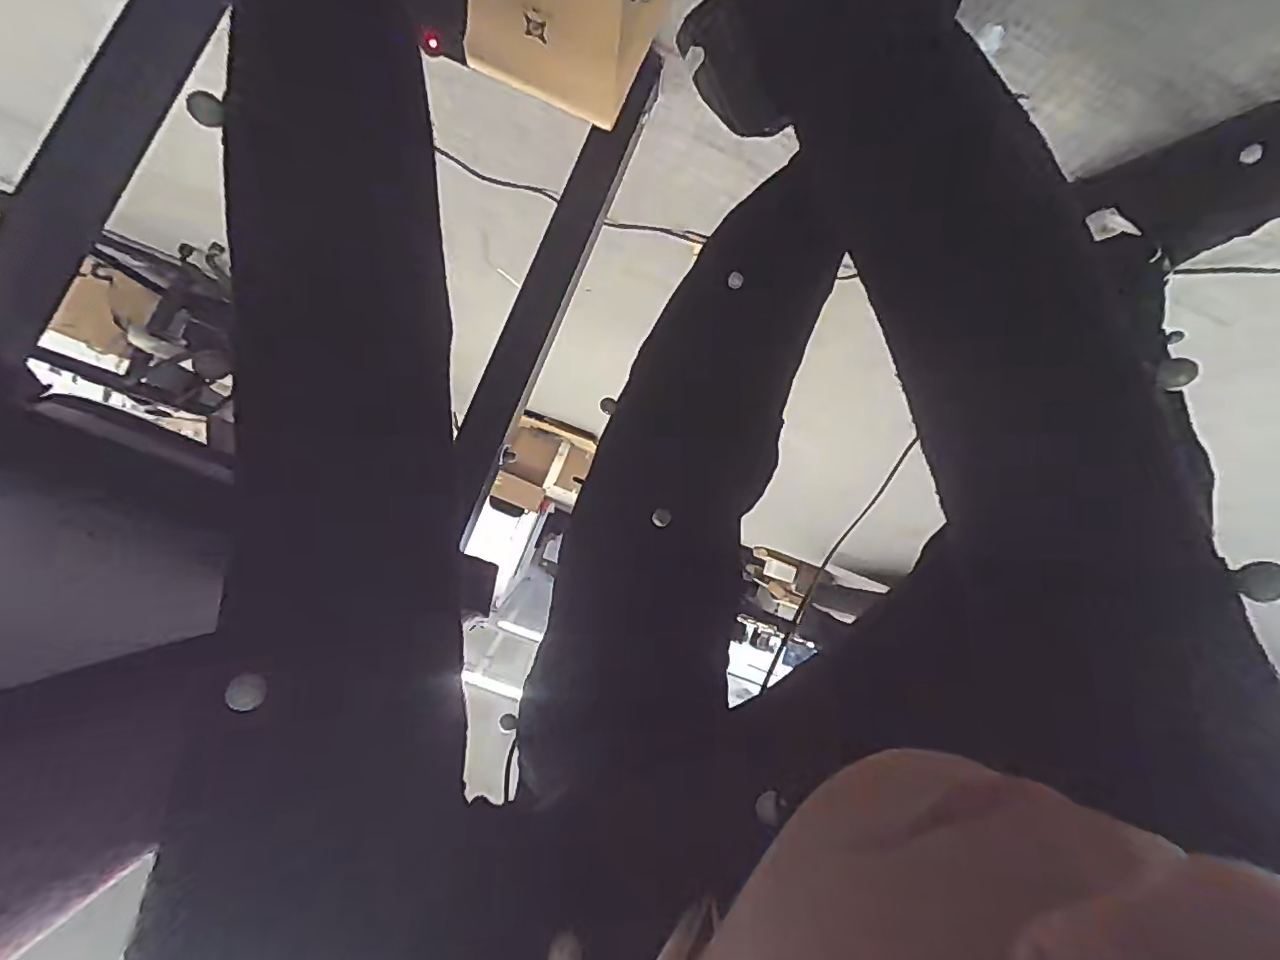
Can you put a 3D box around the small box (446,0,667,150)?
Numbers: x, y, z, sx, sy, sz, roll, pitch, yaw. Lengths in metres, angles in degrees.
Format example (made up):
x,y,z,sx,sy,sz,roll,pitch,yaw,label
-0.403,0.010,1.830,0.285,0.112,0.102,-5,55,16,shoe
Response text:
x,y,z,sx,sy,sz,roll,pitch,yaw,label
-0.070,-0.473,0.512,0.168,0.176,0.179,22,171,-3,small box
